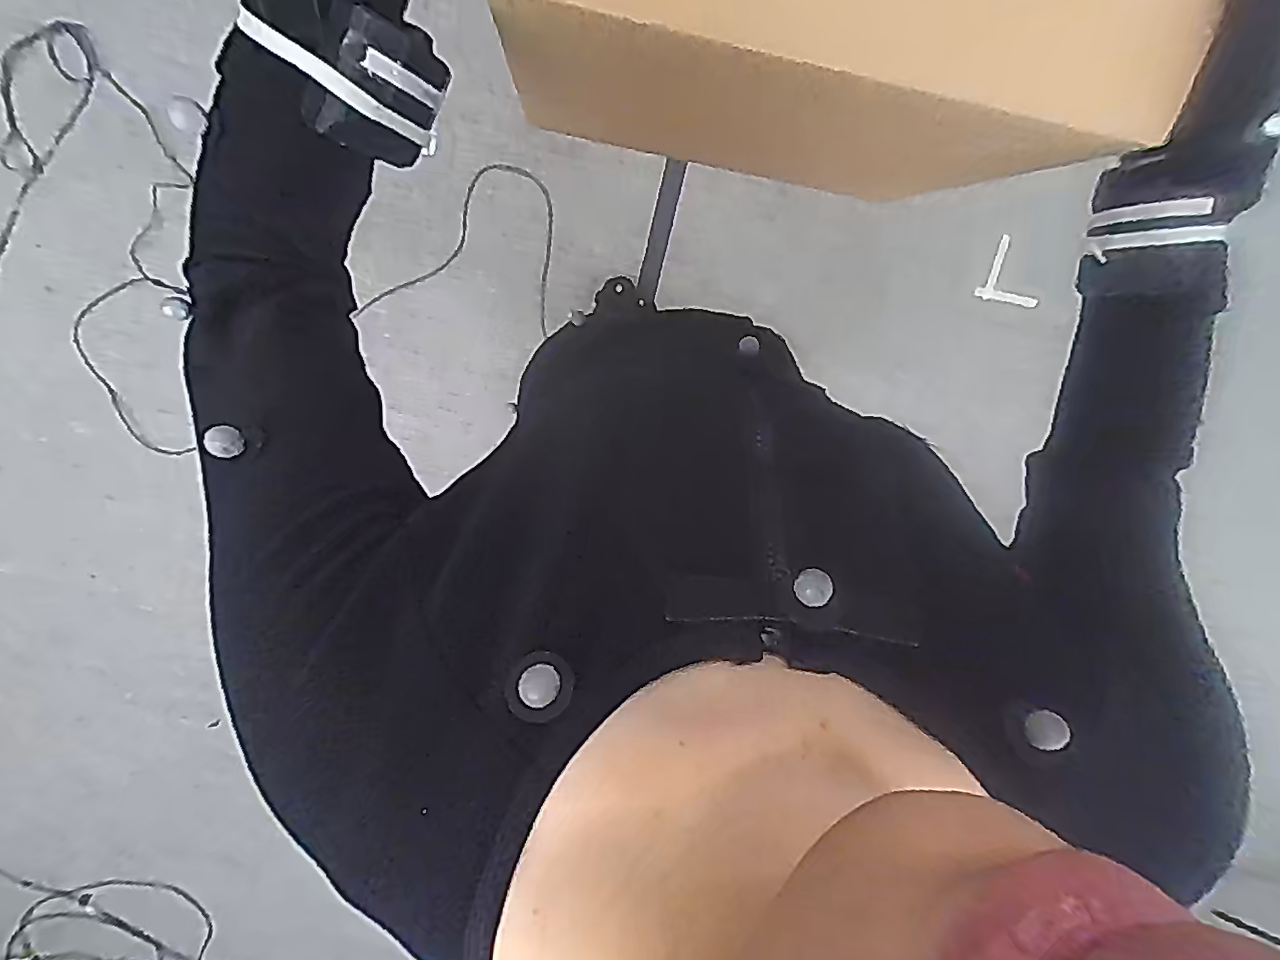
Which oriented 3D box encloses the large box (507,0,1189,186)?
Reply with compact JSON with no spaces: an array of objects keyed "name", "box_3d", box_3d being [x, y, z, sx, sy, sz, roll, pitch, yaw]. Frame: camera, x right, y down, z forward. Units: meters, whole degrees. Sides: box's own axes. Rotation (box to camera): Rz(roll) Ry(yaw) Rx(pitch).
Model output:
[{"name":"large box","box_3d":[0.120,-0.435,0.393,0.408,0.320,0.320,5,111,-10]}]
